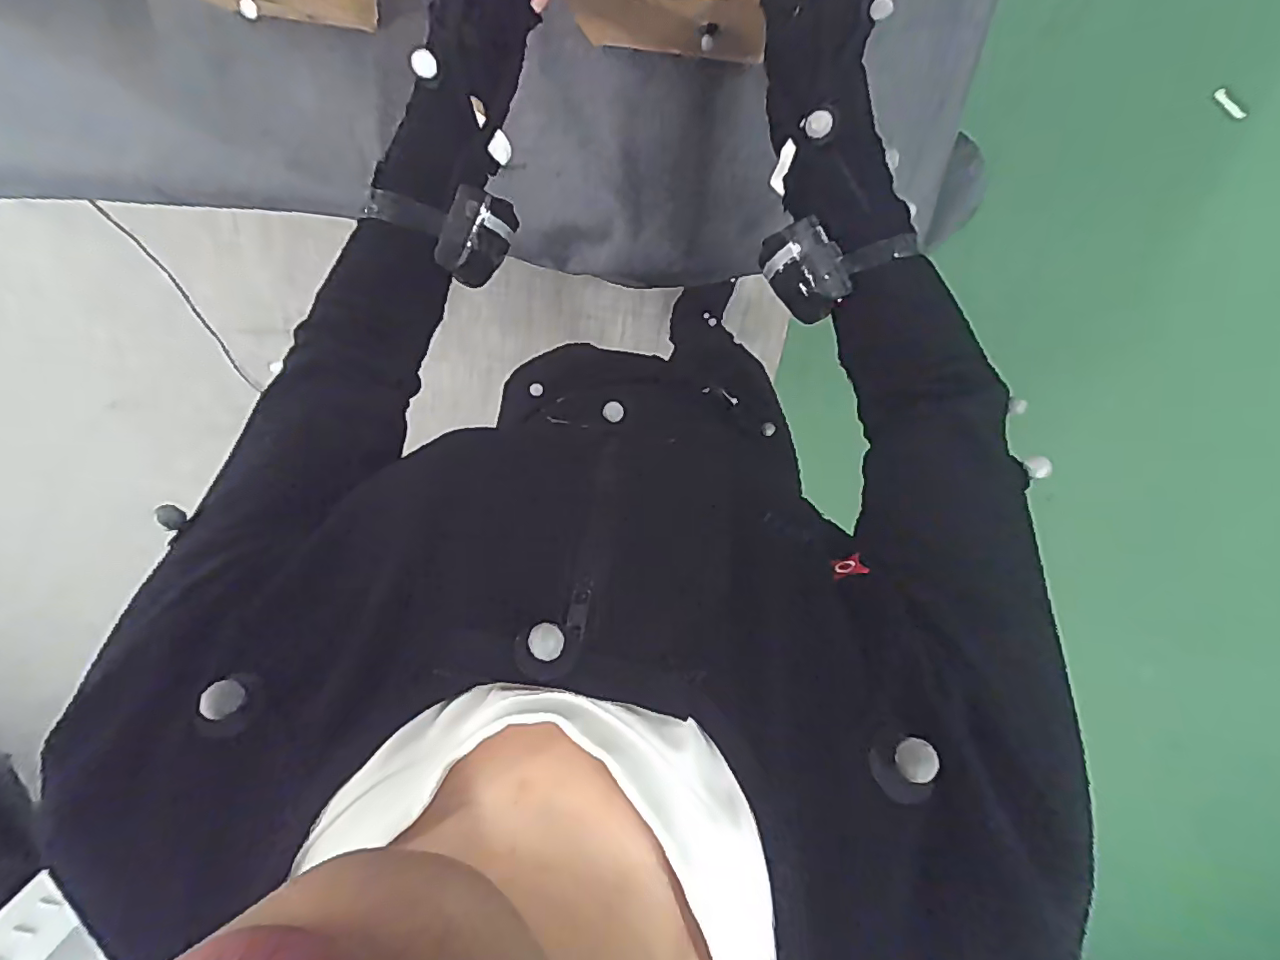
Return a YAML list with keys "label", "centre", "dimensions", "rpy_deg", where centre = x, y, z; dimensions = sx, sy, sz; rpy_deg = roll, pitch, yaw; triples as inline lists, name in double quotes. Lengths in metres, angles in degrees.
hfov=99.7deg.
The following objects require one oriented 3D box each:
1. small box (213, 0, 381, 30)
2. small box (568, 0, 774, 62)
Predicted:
- label: "small box"
  centre: [-0.339, -0.509, 0.448]
  dimensions: [0.168, 0.176, 0.179]
  rpy_deg: [11, 118, 4]
- label: "small box"
  centre: [0.035, -0.451, 0.414]
  dimensions: [0.168, 0.176, 0.179]
  rpy_deg: [10, 115, 3]
